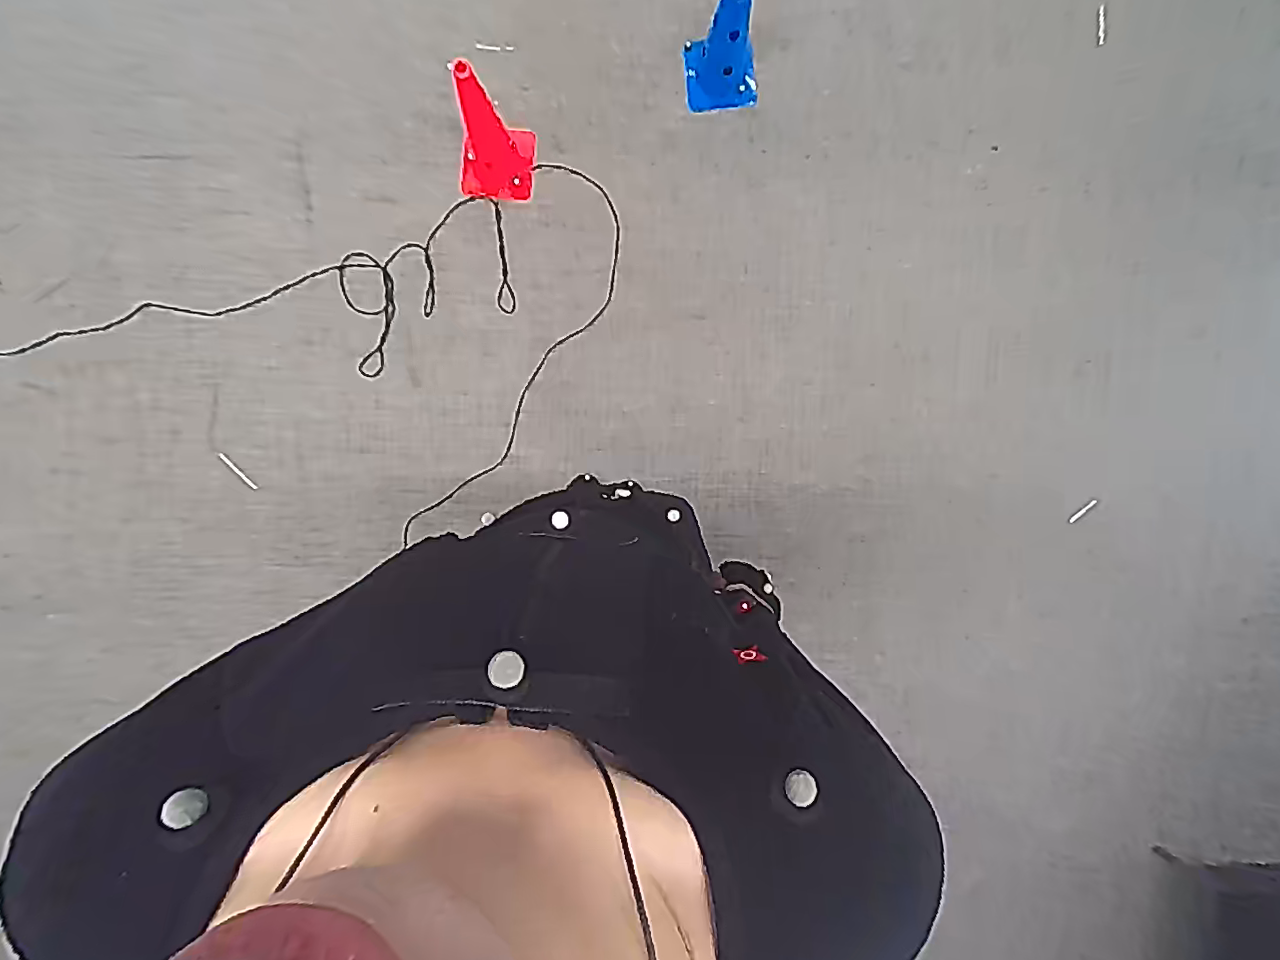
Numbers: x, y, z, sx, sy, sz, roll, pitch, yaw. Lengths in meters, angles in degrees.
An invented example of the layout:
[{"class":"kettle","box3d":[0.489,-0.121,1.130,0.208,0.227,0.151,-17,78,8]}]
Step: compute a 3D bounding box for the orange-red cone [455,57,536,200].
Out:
[{"class":"orange-red cone","box3d":[-0.391,-0.897,1.344,0.198,0.360,0.199,6,88,-2]}]
